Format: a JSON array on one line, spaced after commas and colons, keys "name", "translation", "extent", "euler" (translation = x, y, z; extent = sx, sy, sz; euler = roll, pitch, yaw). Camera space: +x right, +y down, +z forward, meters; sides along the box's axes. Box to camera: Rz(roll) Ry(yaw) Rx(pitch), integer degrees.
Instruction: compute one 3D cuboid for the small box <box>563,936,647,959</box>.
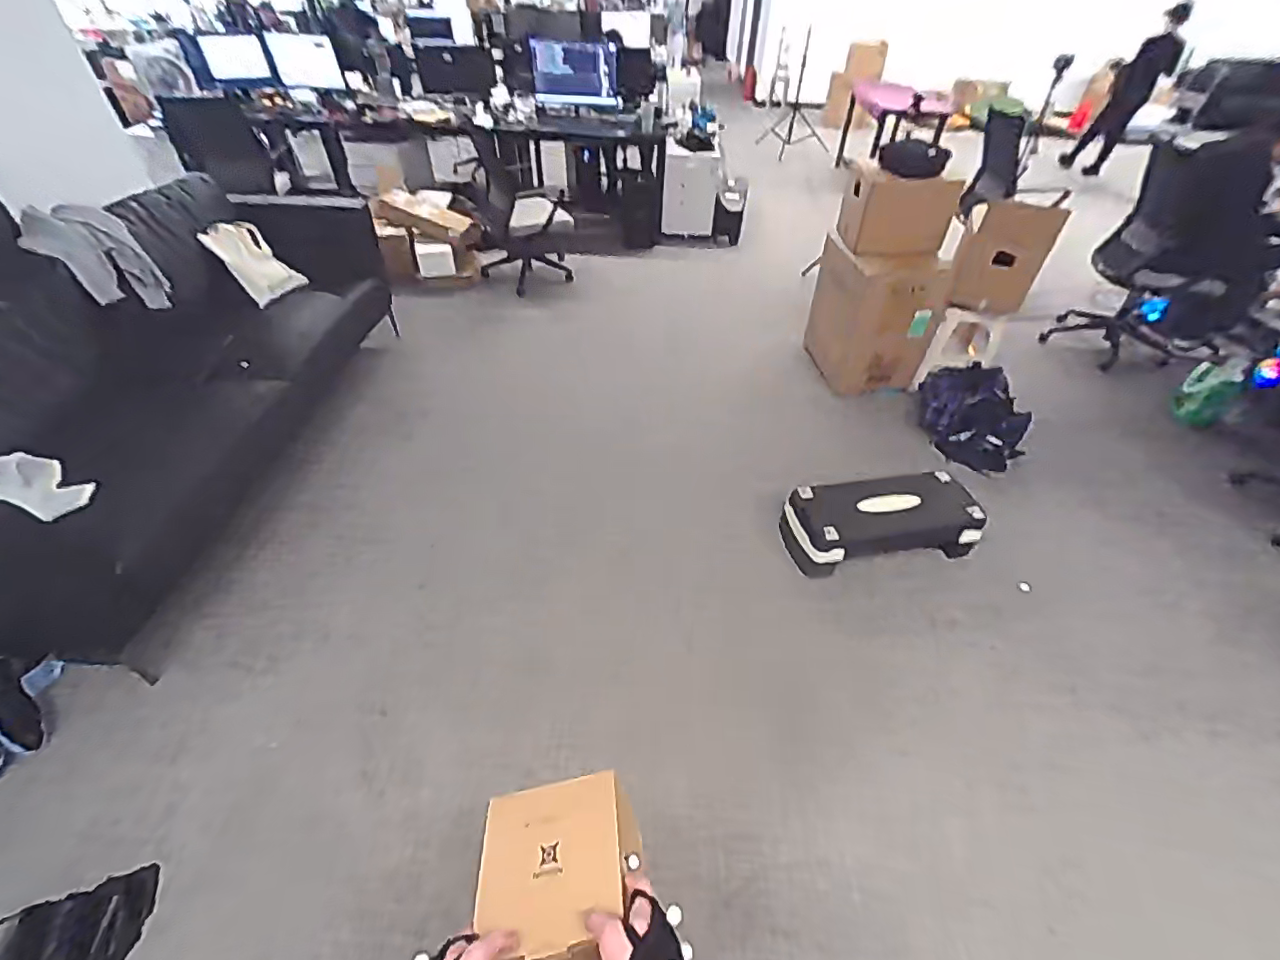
[{"name": "small box", "translation": [-0.076, 1.030, 1.060], "extent": [0.168, 0.176, 0.179], "euler": [3, 43, 3]}]
